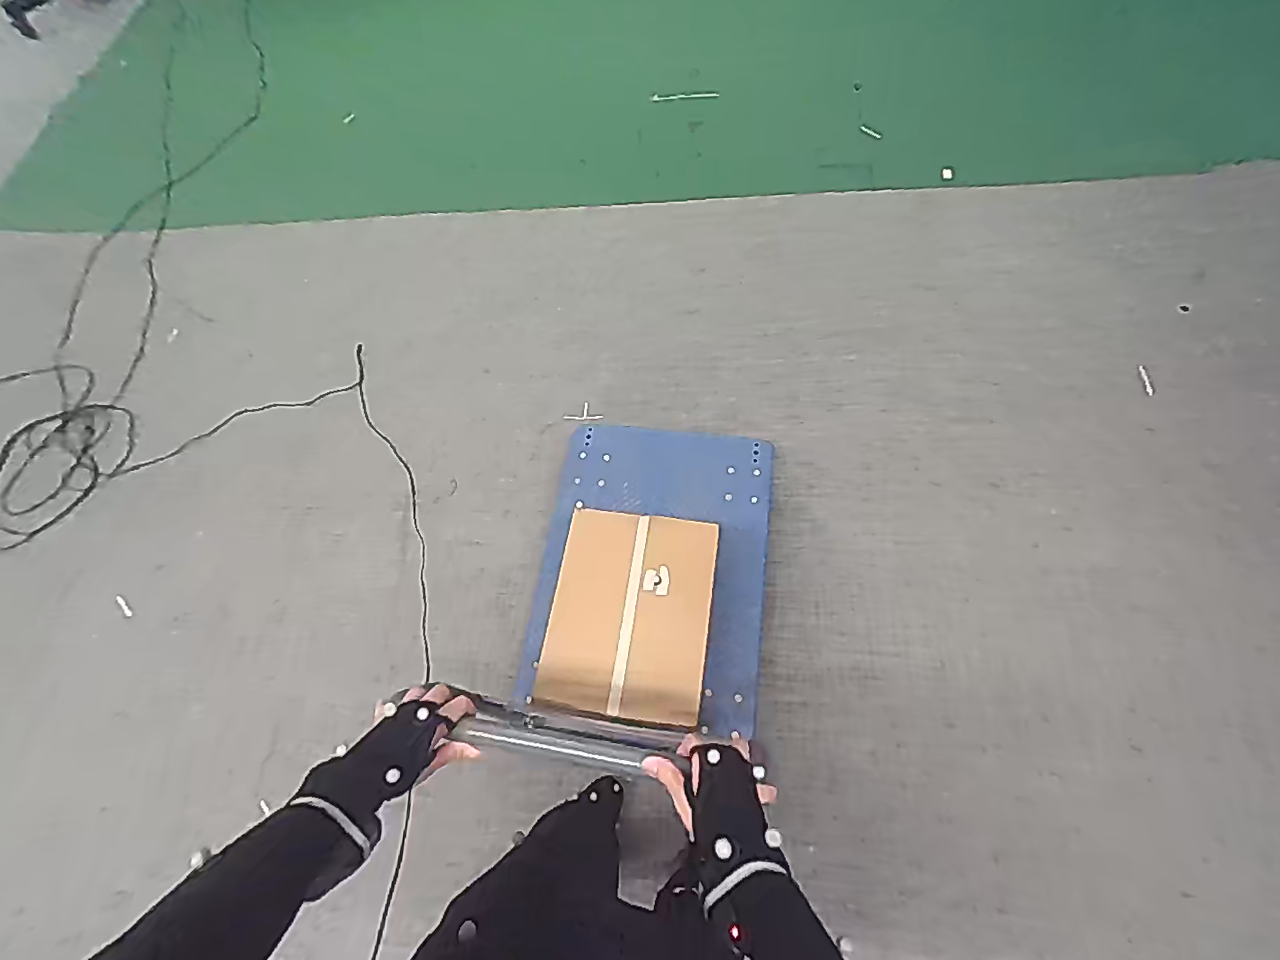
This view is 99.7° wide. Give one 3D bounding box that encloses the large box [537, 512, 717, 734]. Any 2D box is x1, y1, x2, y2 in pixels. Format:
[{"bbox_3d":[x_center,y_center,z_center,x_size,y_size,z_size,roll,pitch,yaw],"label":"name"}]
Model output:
[{"bbox_3d":[-0.002,0.324,1.195,0.320,0.320,0.408,6,66,8],"label":"large box"}]
